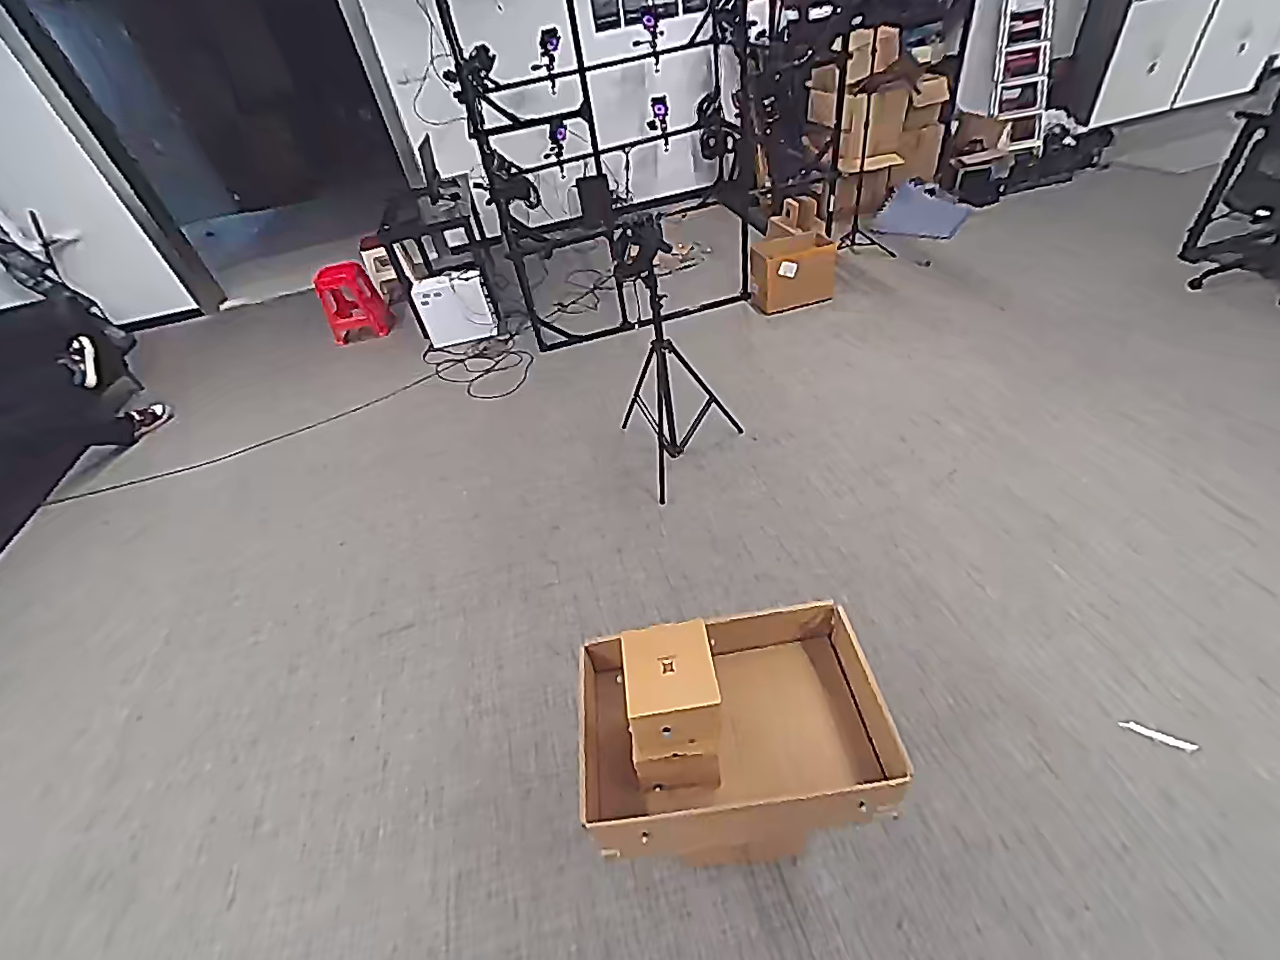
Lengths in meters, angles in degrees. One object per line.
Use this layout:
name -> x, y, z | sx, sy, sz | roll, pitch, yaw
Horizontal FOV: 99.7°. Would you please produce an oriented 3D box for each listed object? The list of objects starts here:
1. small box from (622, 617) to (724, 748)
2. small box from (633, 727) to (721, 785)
small box -> 0.063, 0.395, 1.043 | 0.168, 0.176, 0.179 | -10, 40, 1
small box -> 0.077, 0.524, 1.142 | 0.168, 0.176, 0.179 | -7, 41, 4
